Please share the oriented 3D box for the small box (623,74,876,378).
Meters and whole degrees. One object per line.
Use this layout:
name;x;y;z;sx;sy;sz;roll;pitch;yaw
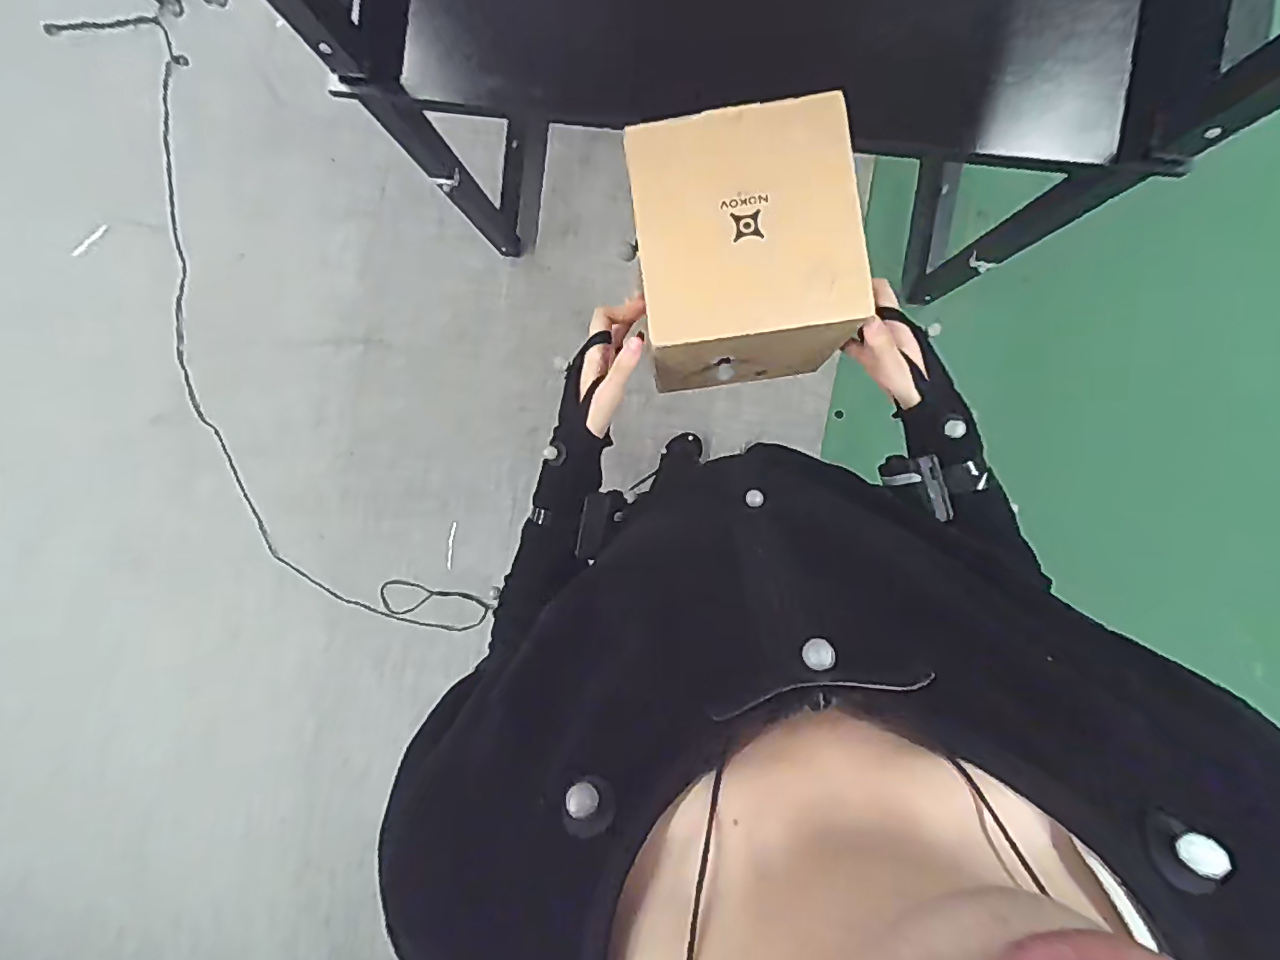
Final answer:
small box;0.084;-0.194;0.470;0.168;0.176;0.179;-7;86;4
